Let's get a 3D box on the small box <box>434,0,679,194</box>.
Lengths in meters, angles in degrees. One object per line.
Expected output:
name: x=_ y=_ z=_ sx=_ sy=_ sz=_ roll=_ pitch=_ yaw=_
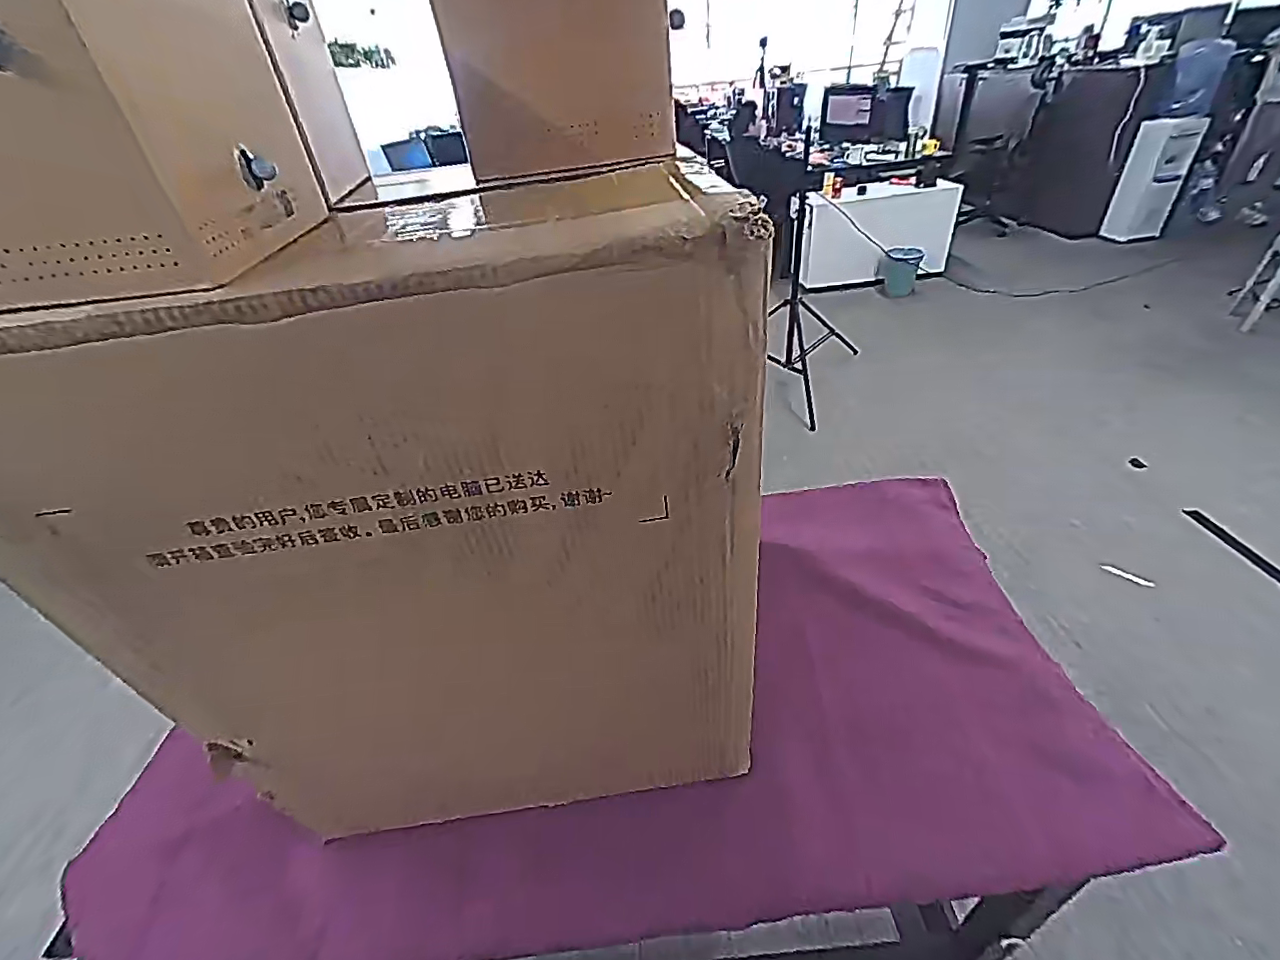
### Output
small box: x=-0.058 y=-0.366 z=0.473 sx=0.179 sy=0.176 sz=0.168 roll=-6 pitch=37 yaw=4
